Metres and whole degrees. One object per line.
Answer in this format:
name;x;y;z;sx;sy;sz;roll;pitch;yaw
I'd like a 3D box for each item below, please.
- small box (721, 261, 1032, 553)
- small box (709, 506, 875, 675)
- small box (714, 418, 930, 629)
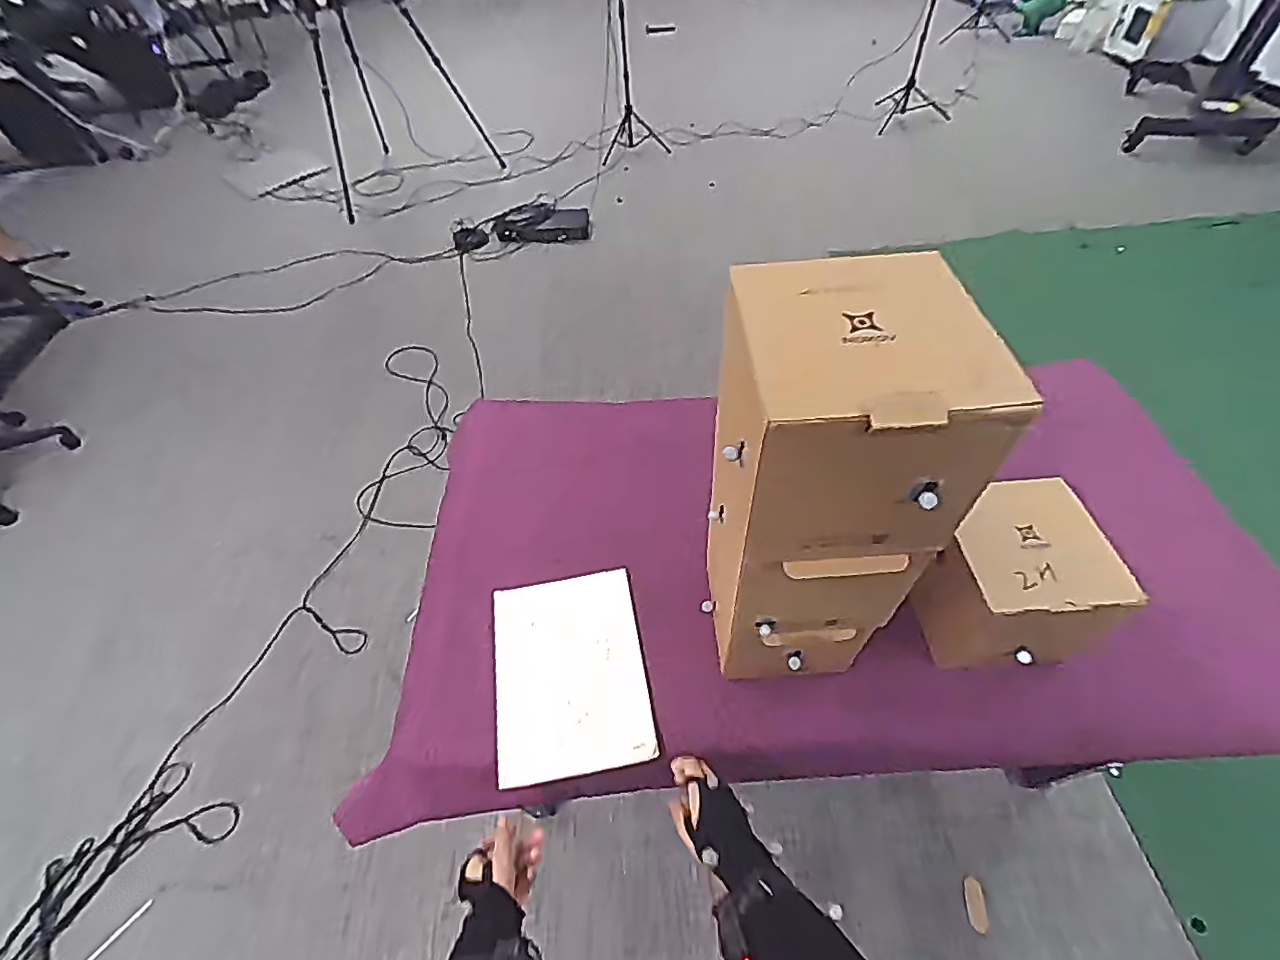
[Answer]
small box;0.159;-0.050;0.440;0.168;0.176;0.179;-3;51;2
small box;0.181;0.144;0.703;0.168;0.176;0.179;-4;52;1
small box;0.170;0.047;0.571;0.168;0.176;0.179;-4;50;2
